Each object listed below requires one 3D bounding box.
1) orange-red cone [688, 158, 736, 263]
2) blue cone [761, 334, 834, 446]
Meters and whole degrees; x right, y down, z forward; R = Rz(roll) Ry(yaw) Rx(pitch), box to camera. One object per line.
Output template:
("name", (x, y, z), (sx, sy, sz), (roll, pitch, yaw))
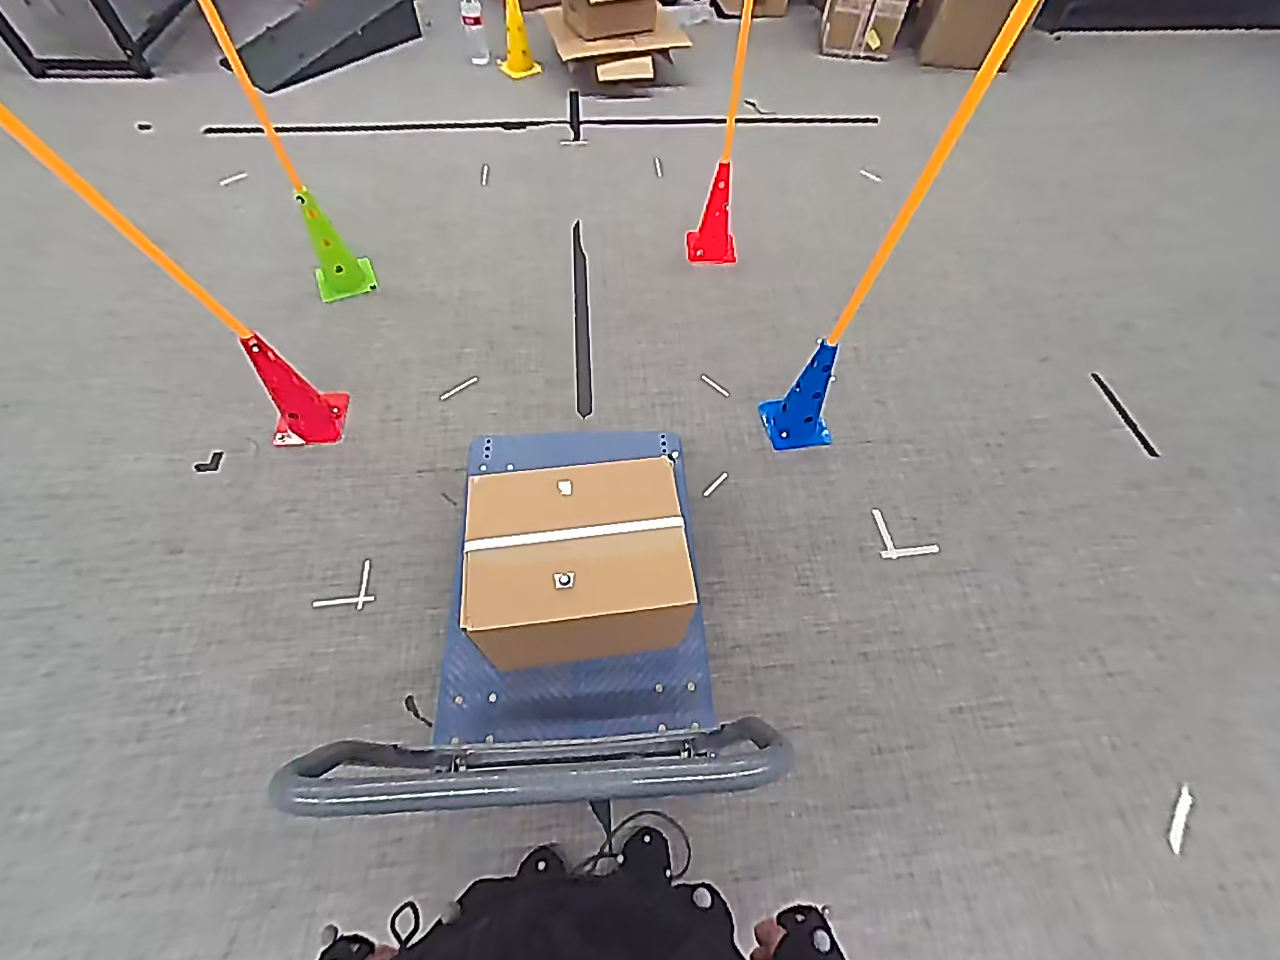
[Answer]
("orange-red cone", (0.303, -1.049, 2.079), (0.199, 0.360, 0.198), (3, 59, -2))
("blue cone", (0.514, -0.281, 1.637), (0.193, 0.380, 0.192), (-7, 58, -7))
